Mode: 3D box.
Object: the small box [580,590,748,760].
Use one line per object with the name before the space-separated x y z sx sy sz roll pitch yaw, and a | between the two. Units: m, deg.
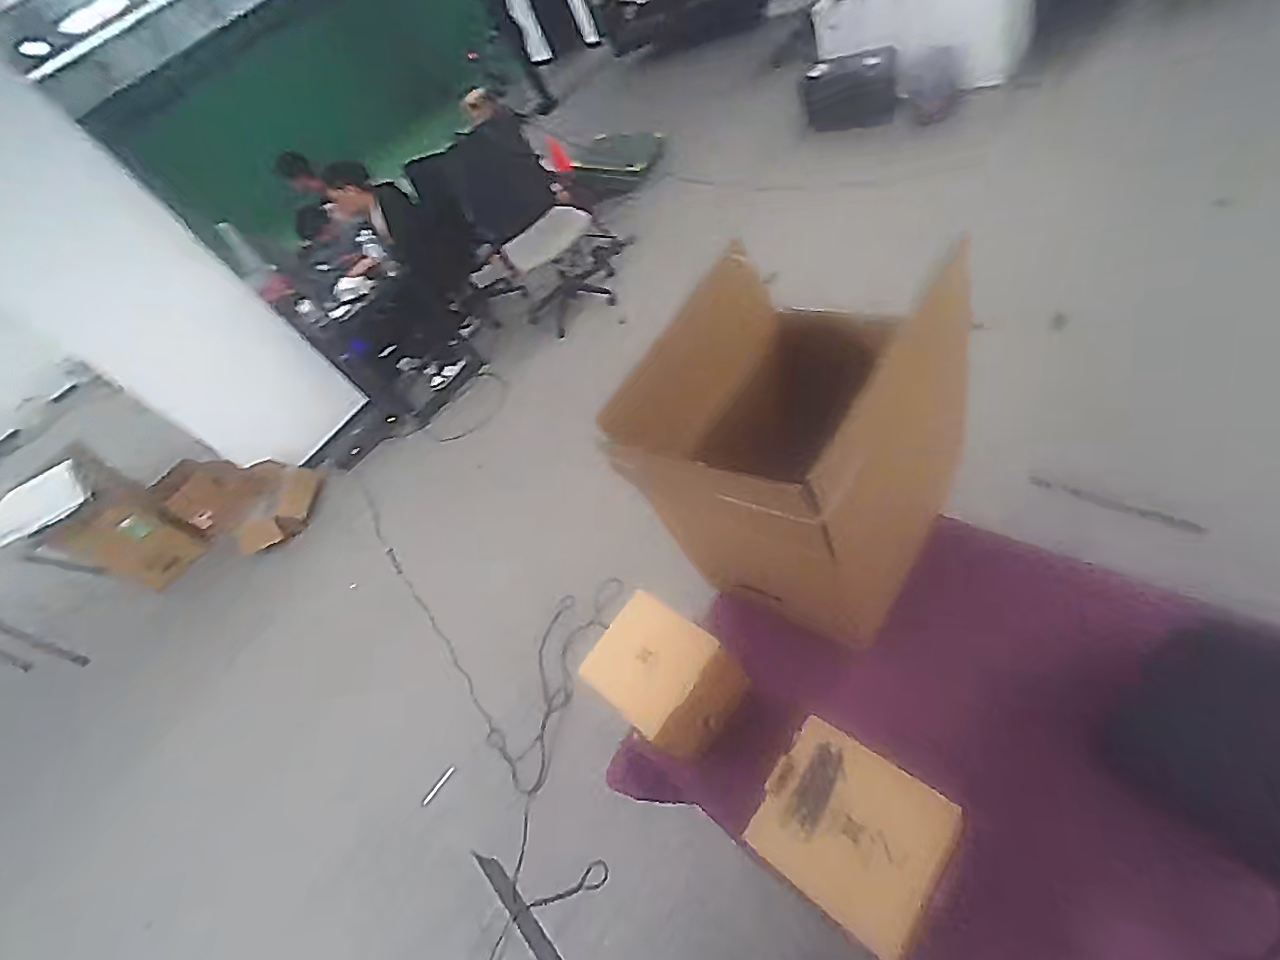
small box | 0.044 0.313 0.863 0.179 0.176 0.168 26 69 41
